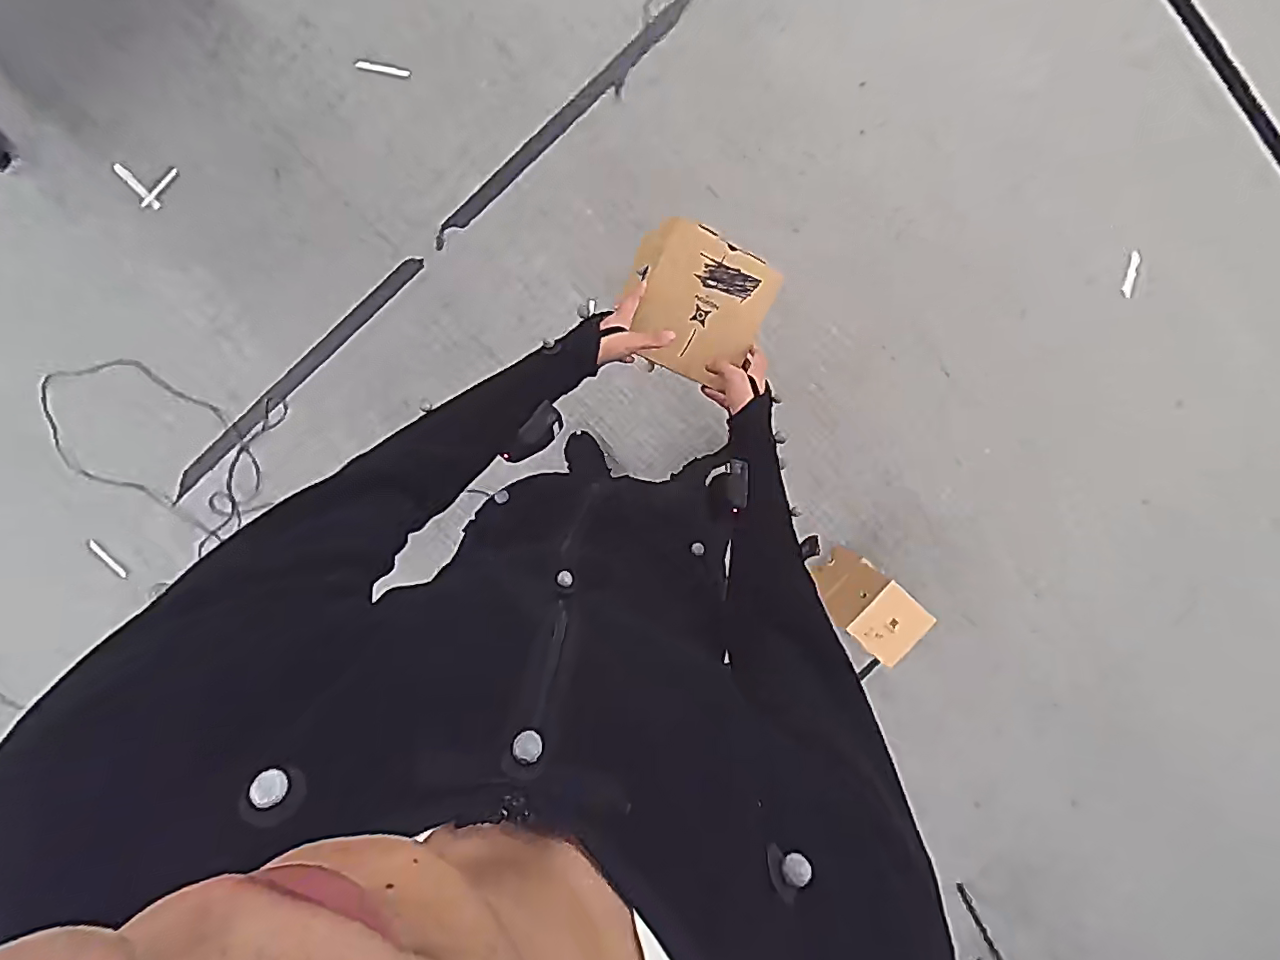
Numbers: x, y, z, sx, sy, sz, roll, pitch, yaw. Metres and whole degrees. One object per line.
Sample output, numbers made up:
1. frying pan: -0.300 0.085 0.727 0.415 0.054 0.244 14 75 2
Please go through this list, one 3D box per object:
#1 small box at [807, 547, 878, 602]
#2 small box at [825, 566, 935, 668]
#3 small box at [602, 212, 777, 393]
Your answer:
1. small box: 0.632 0.323 1.606 0.179 0.176 0.168 44 94 -6
2. small box: 0.629 0.356 1.445 0.168 0.176 0.179 43 94 -6
3. small box: 0.057 -0.247 0.771 0.168 0.176 0.179 21 102 -18
